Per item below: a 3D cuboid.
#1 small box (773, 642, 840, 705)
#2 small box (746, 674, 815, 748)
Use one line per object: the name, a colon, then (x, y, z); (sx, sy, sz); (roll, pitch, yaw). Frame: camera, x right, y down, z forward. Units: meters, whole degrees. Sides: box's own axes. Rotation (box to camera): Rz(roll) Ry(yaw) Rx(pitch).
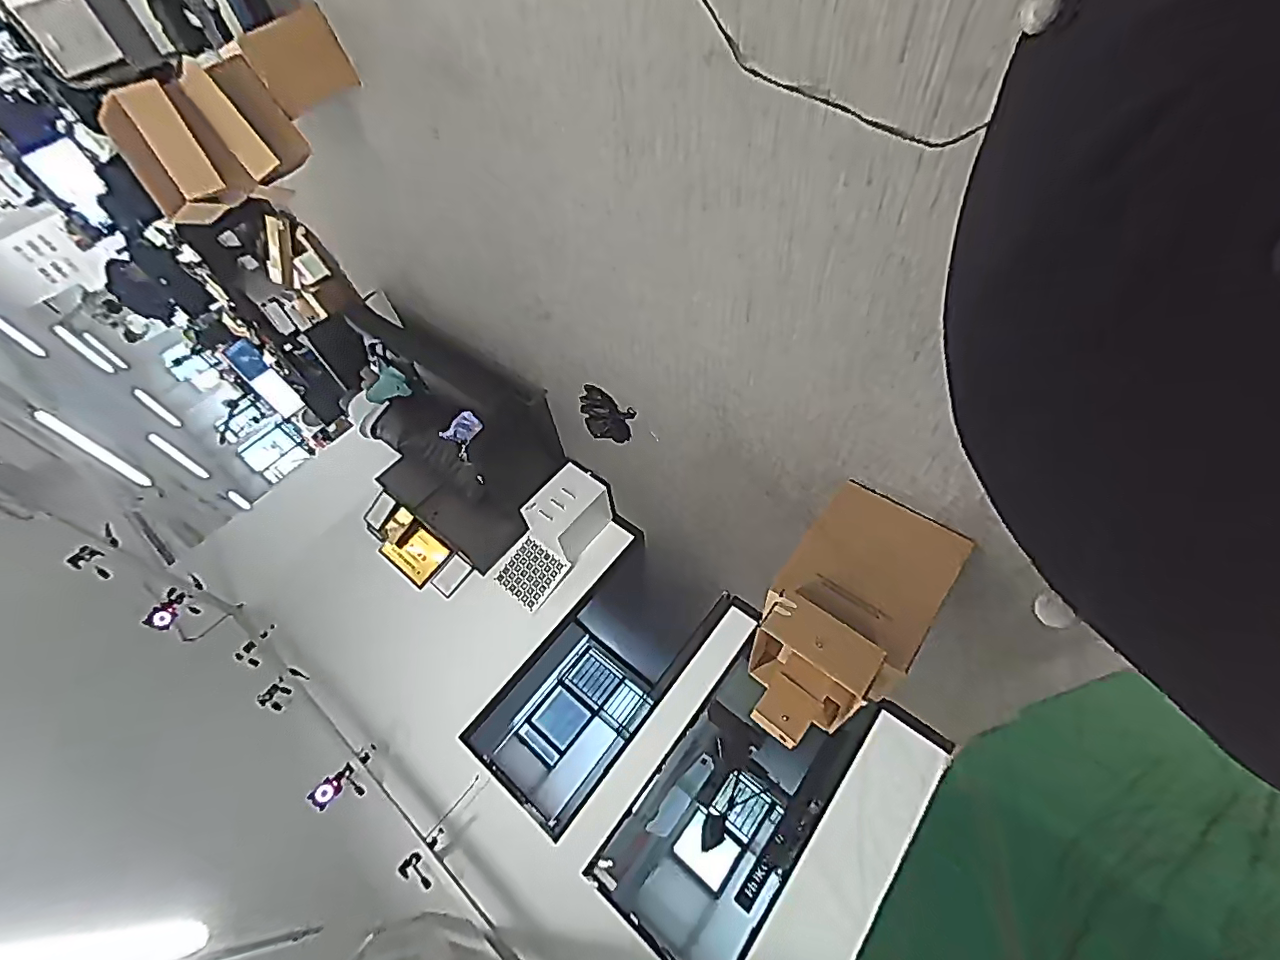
small box: (0.617, 0.730, 2.024); (0.179, 0.176, 0.168); (34, 158, 26)
small box: (0.510, 0.839, 1.962); (0.179, 0.176, 0.168); (35, 157, 23)
